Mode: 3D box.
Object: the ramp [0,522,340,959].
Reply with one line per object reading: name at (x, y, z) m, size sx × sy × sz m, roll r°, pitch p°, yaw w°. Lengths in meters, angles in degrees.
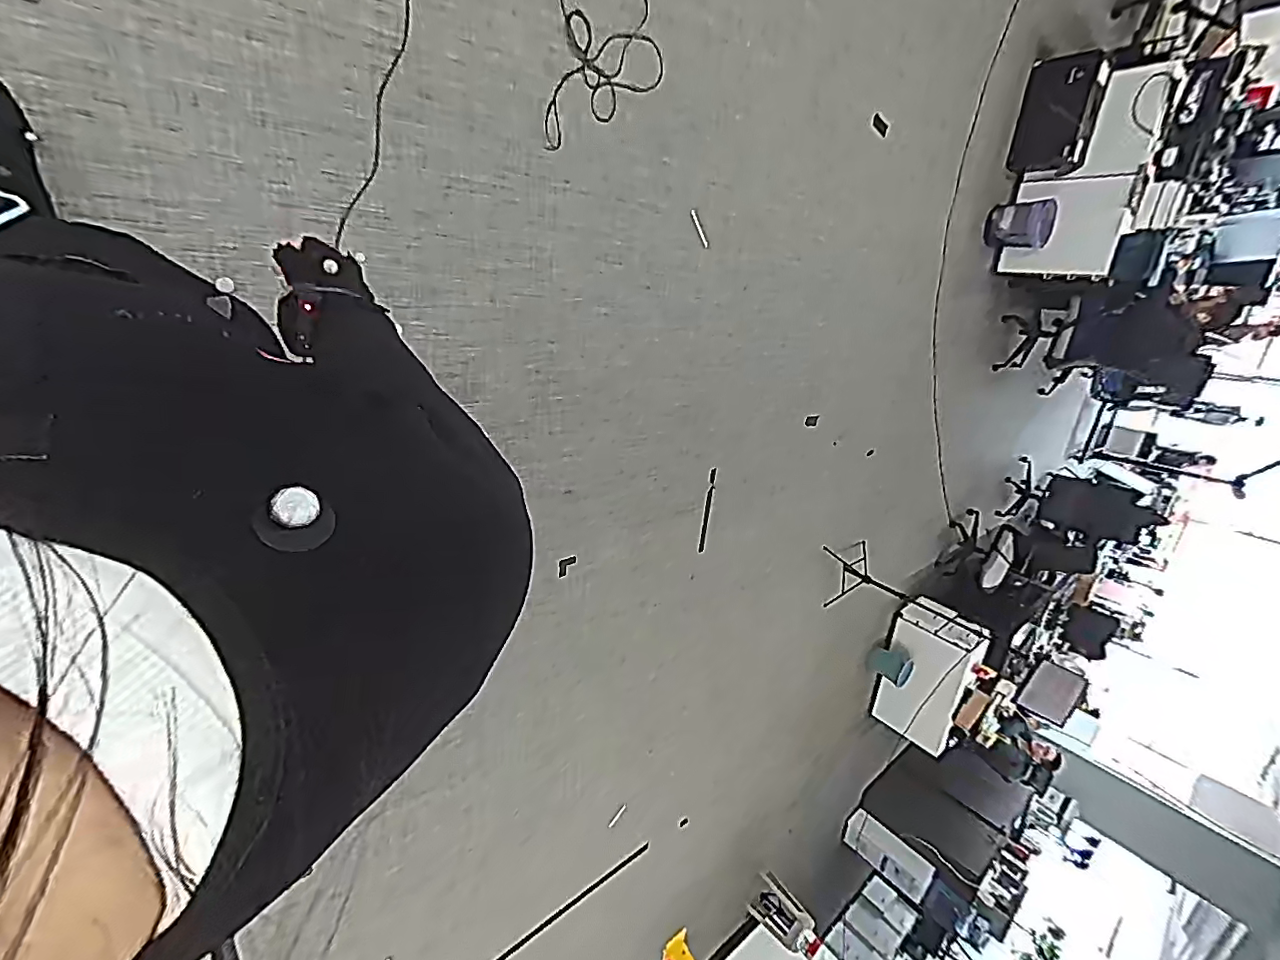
ramp at (-1.039, 0.623, 1.254) m, size 0.509 × 0.206 × 0.991 m, roll -12°, pitch 114°, yaw -37°
